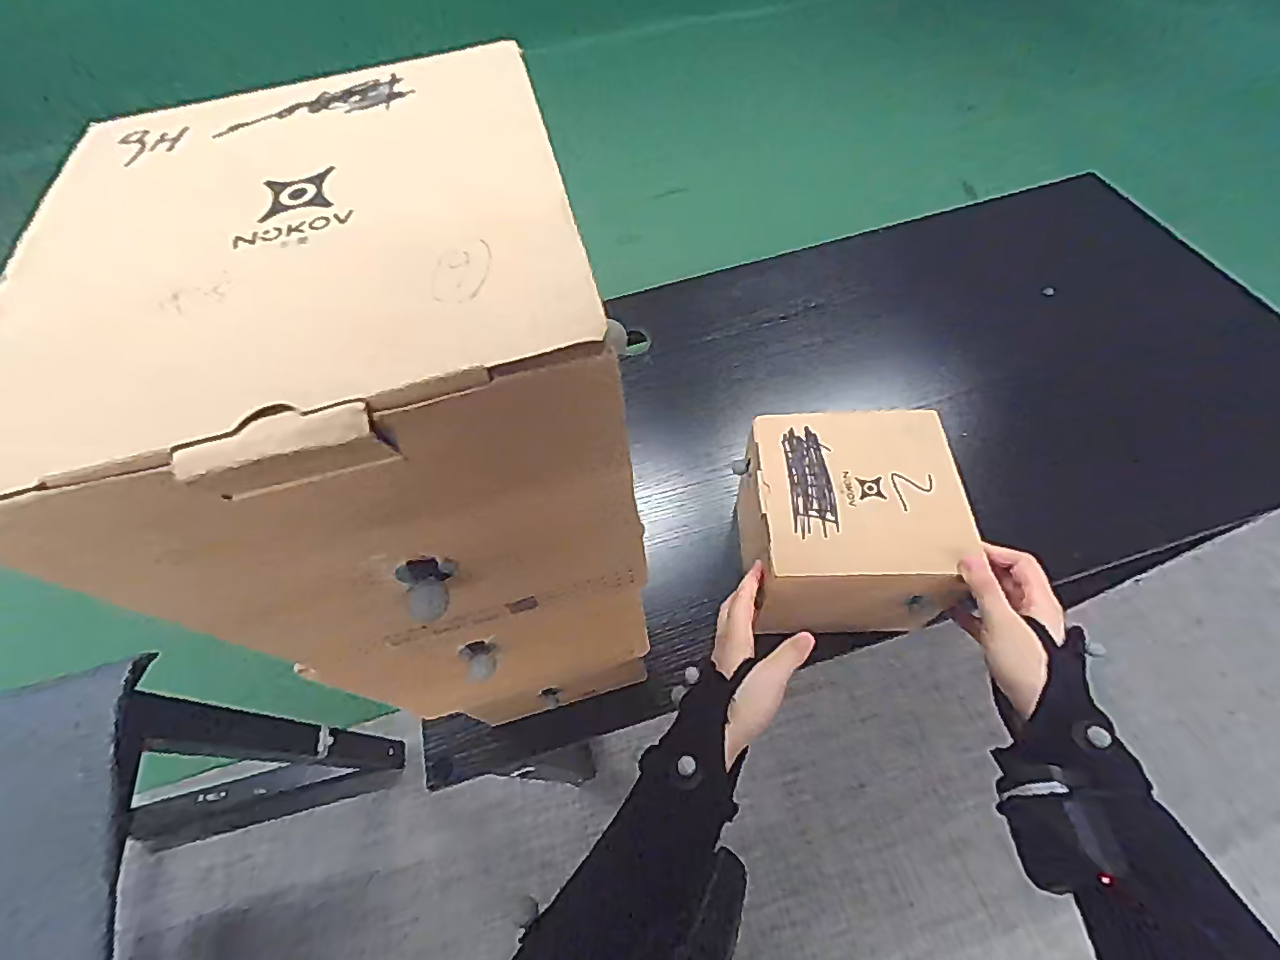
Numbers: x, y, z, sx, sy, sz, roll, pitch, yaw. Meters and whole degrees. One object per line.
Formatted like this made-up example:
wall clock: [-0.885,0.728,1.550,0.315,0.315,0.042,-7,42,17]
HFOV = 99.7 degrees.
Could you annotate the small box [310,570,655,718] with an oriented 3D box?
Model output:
small box: [-0.093,0.051,0.377,0.179,0.176,0.168,-16,59,-4]

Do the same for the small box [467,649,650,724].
small box: [-0.091,0.122,0.523,0.168,0.176,0.179,-15,59,-5]

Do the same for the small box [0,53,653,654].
small box: [-0.095,-0.035,0.237,0.168,0.176,0.179,-15,60,-4]
